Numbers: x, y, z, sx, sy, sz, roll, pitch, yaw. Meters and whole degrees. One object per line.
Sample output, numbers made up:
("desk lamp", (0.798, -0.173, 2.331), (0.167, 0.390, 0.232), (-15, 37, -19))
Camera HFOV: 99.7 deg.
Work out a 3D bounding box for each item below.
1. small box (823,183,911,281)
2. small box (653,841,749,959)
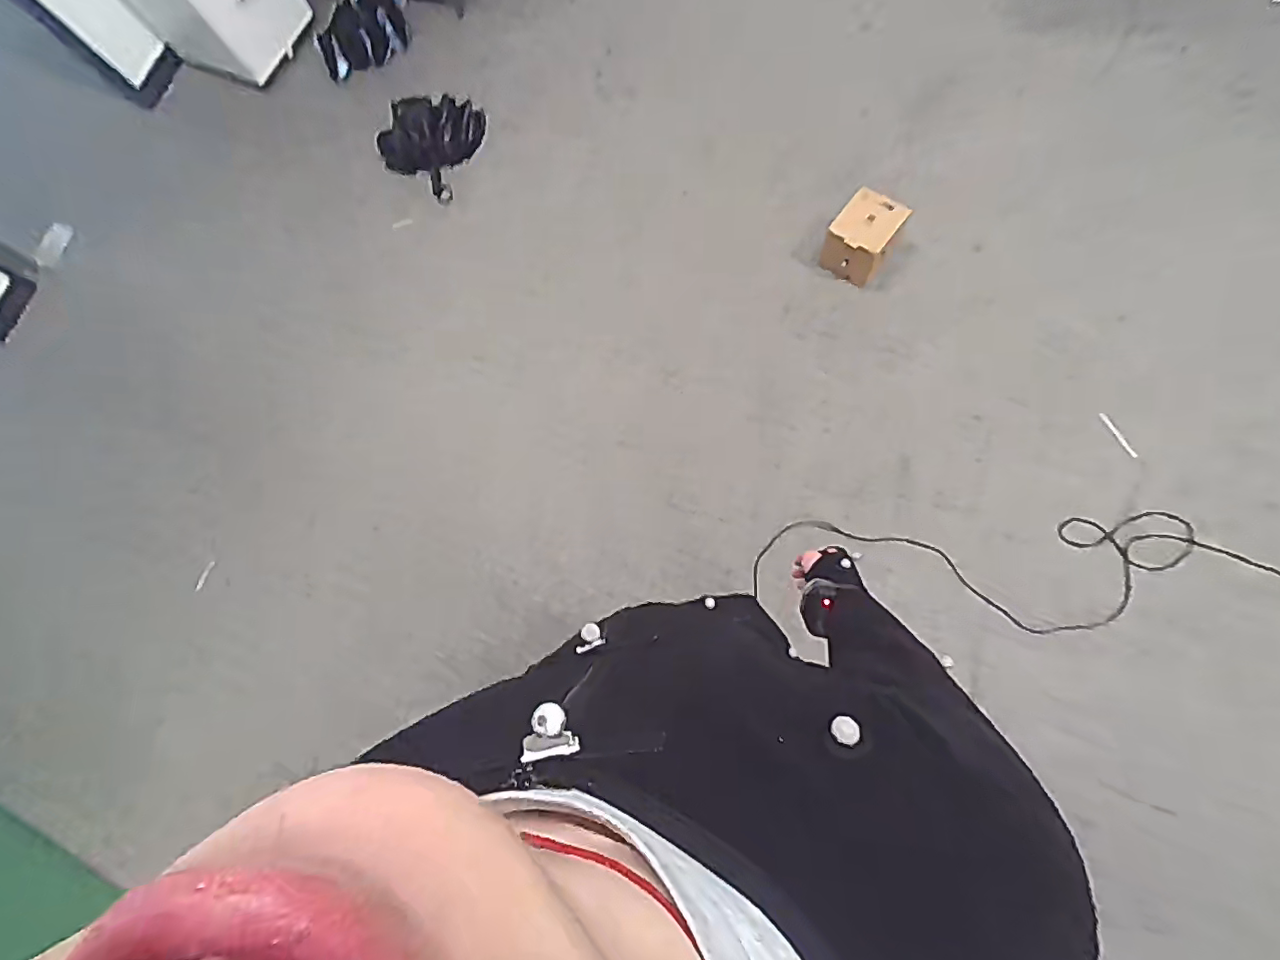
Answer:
("small box", (0.669, -0.734, 1.620), (0.168, 0.176, 0.179), (37, 86, 17))
("small box", (0.149, 1.013, 1.288), (0.168, 0.176, 0.179), (23, 82, 16))
